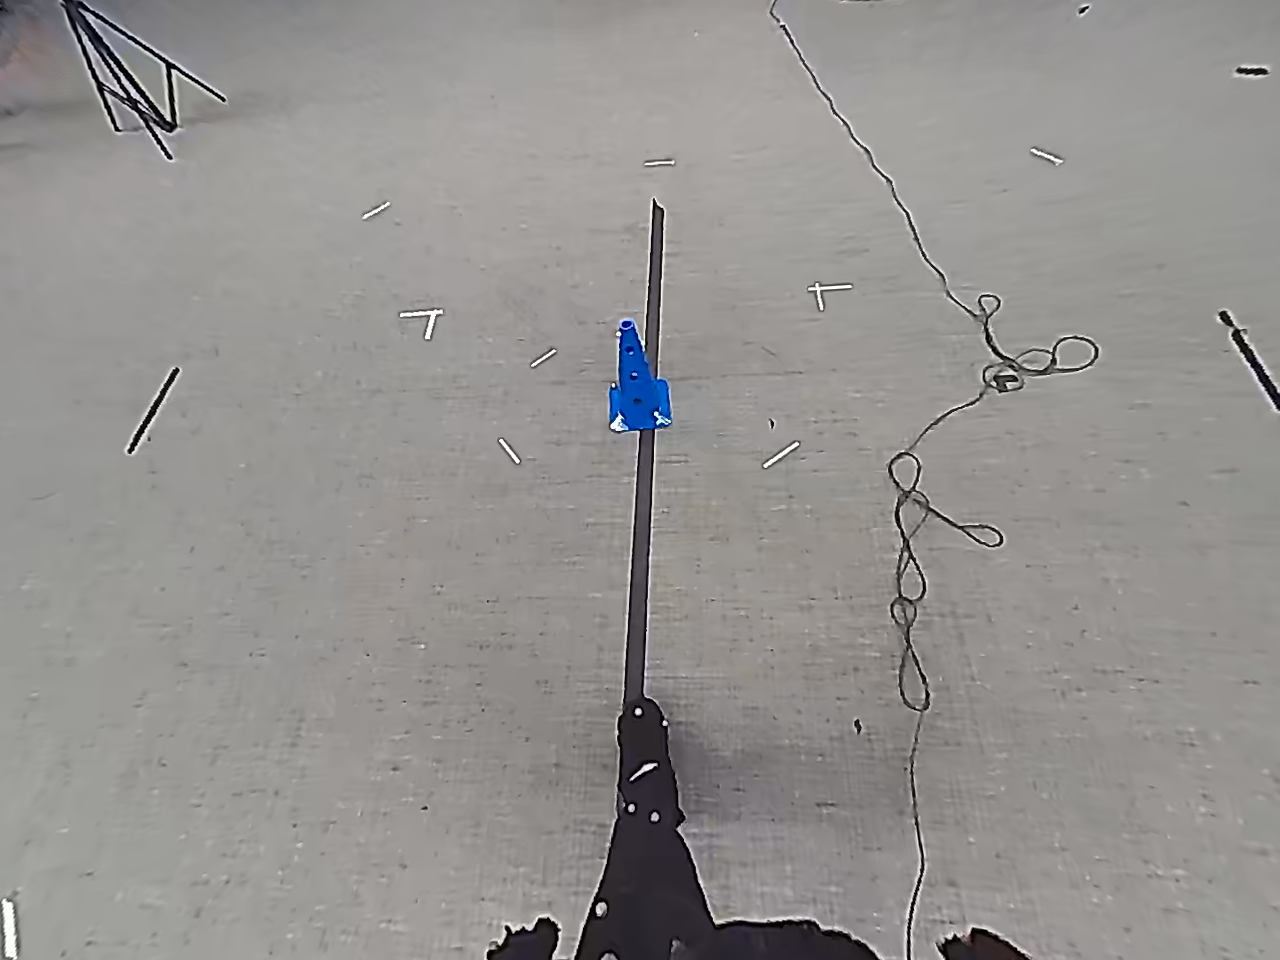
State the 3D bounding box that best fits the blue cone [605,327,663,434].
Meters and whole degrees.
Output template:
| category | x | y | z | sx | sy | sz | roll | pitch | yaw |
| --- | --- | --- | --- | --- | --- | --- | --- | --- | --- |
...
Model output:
| category | x | y | z | sx | sy | sz | roll | pitch | yaw |
| --- | --- | --- | --- | --- | --- | --- | --- | --- | --- |
| blue cone | -0.040 | -0.319 | 1.651 | 0.192 | 0.380 | 0.193 | -4 | 59 | 5 |
